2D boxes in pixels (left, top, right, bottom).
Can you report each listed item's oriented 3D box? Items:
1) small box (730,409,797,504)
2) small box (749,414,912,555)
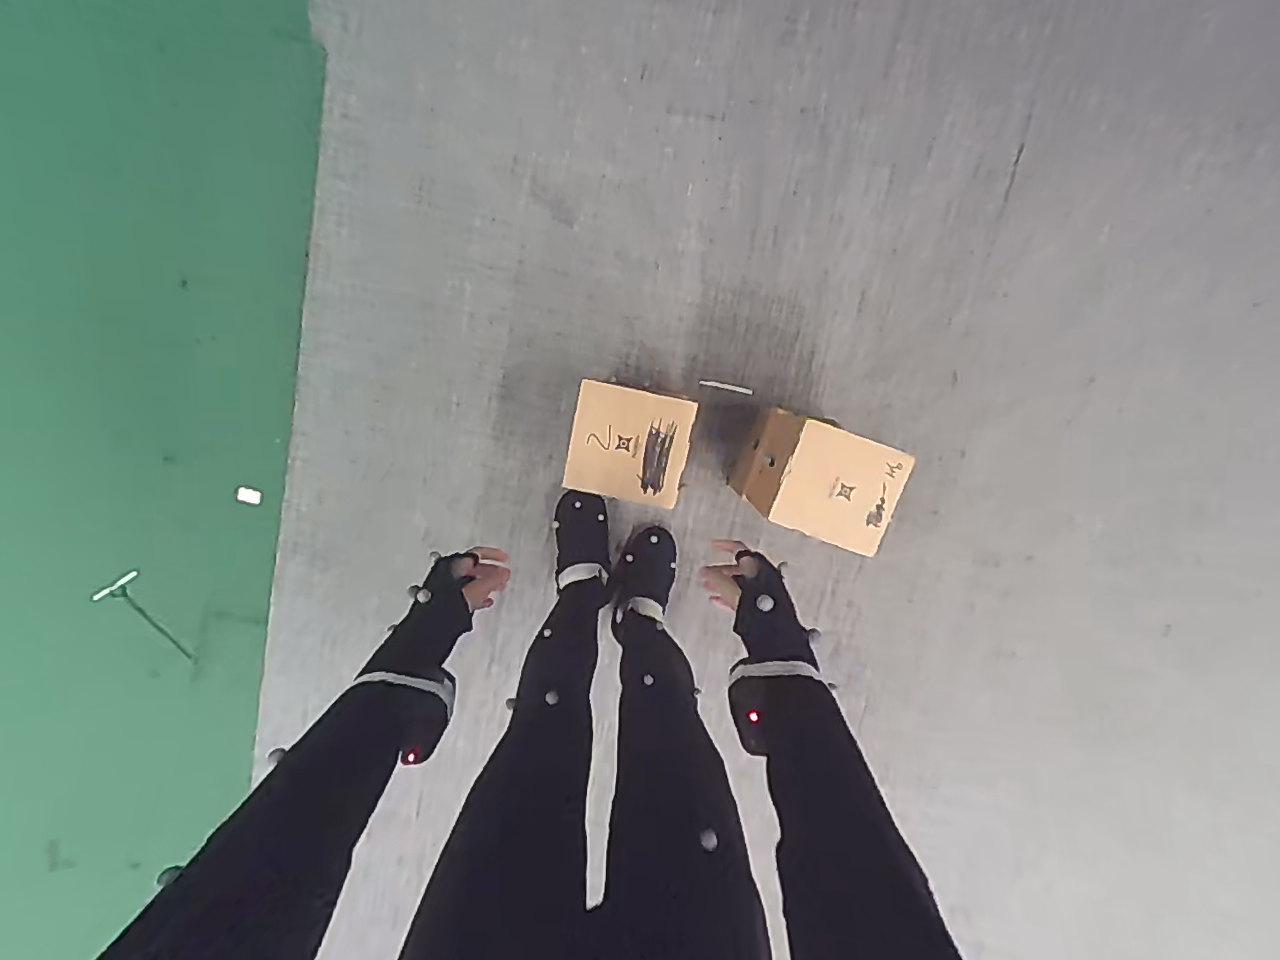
[{"bbox_3d":[0.284,-0.031,1.045,0.168,0.176,0.179,20,99,-2],"label":"small box"},{"bbox_3d":[0.295,-0.001,0.883,0.179,0.176,0.168,21,98,-1],"label":"small box"}]
